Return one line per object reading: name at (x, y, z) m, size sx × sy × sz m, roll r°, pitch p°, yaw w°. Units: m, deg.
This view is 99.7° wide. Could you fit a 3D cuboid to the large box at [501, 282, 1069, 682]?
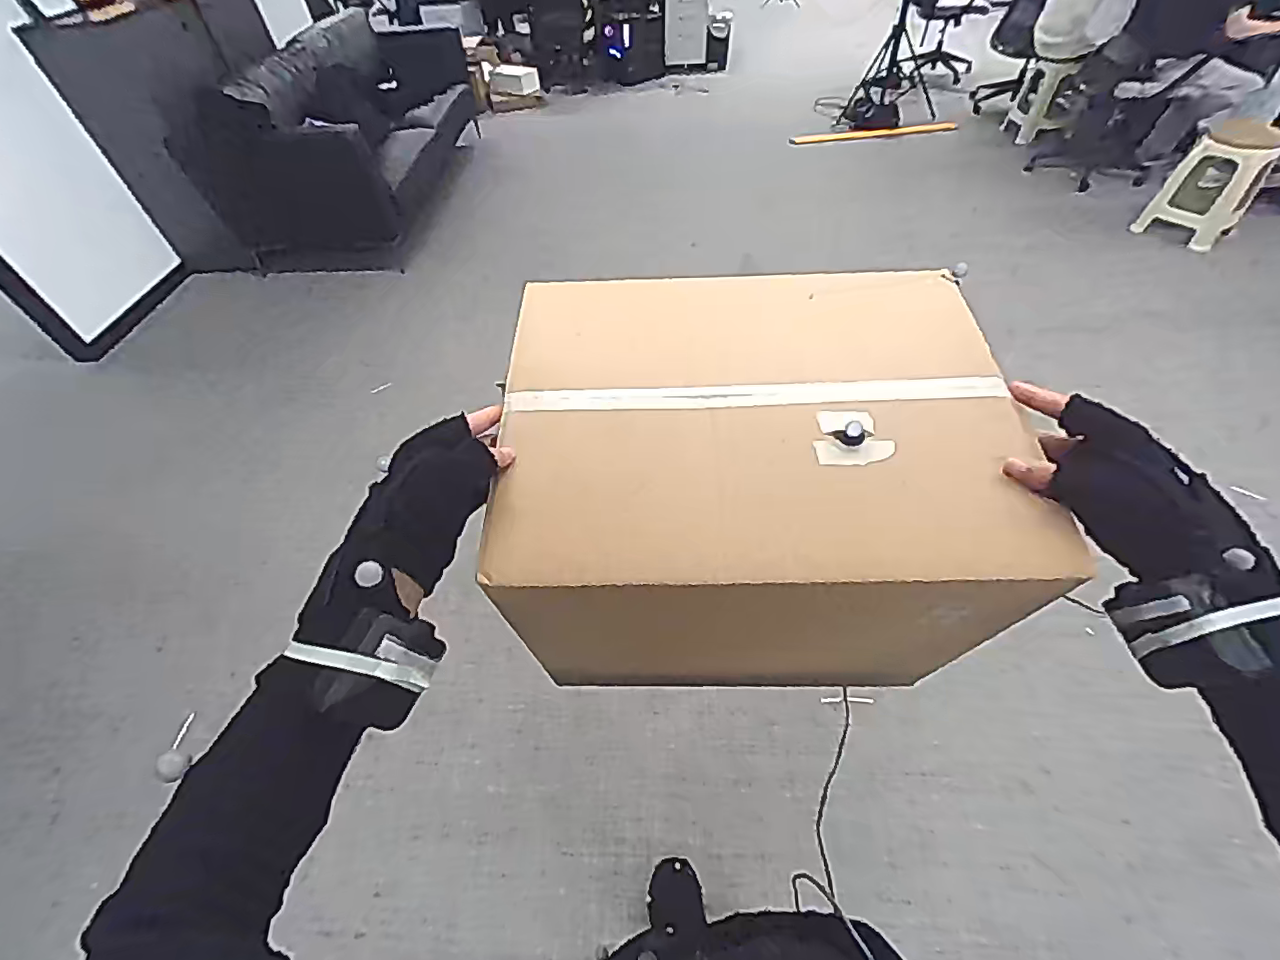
large box at (0.099, 0.018, 0.578) m, size 0.408 × 0.320 × 0.320 m, roll -1°, pitch 58°, yaw 1°
